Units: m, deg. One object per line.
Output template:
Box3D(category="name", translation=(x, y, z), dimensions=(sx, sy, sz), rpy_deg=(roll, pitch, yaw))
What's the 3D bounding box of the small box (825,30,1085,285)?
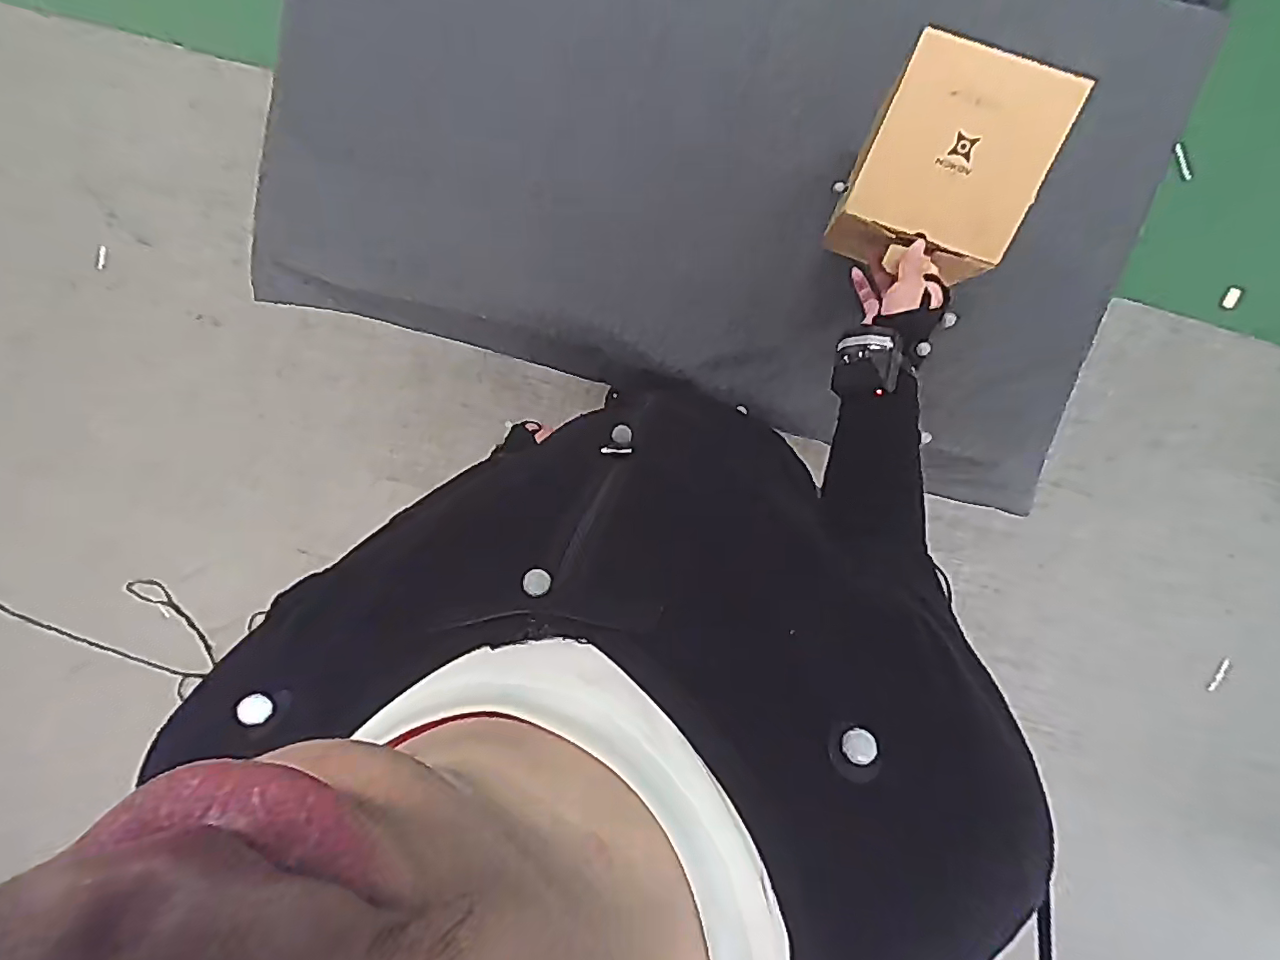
Box3D(category="small box", translation=(0.326, -0.339, 0.610), dimensions=(0.168, 0.176, 0.179), rpy_deg=(23, 105, 3))
